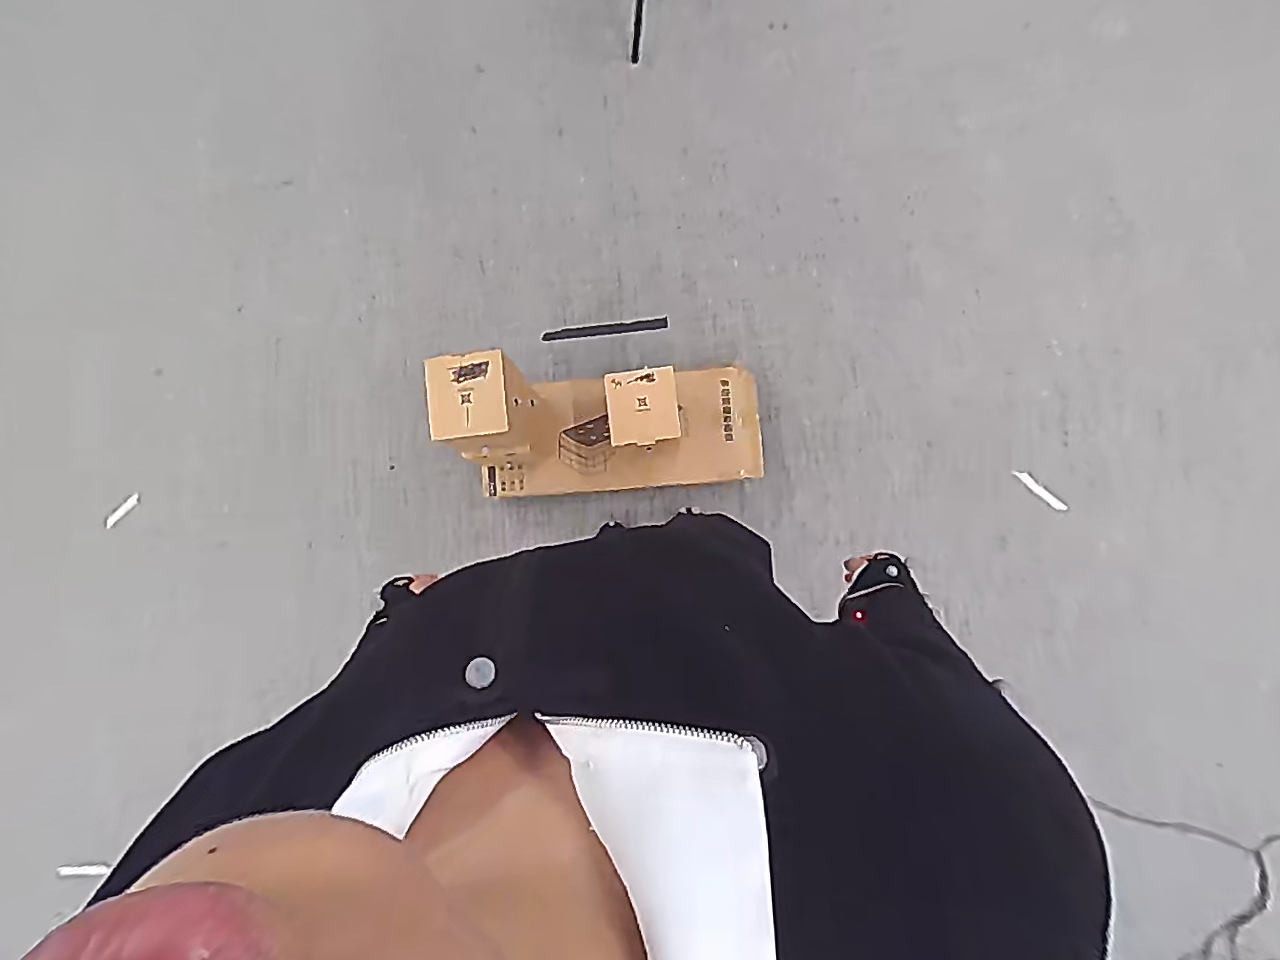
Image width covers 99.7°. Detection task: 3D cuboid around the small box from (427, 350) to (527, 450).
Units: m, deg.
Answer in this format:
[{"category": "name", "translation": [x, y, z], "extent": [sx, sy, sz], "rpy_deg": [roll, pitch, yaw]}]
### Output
[{"category": "small box", "translation": [-0.353, -0.171, 1.193], "extent": [0.168, 0.176, 0.179], "rpy_deg": [-6, 85, 3]}]

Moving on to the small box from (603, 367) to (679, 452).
[{"category": "small box", "translation": [0.008, -0.166, 1.339], "extent": [0.168, 0.176, 0.179], "rpy_deg": [-6, 85, 5]}]

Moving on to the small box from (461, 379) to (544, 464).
[{"category": "small box", "translation": [-0.342, -0.140, 1.354], "extent": [0.168, 0.176, 0.179], "rpy_deg": [-4, 85, 3]}]
